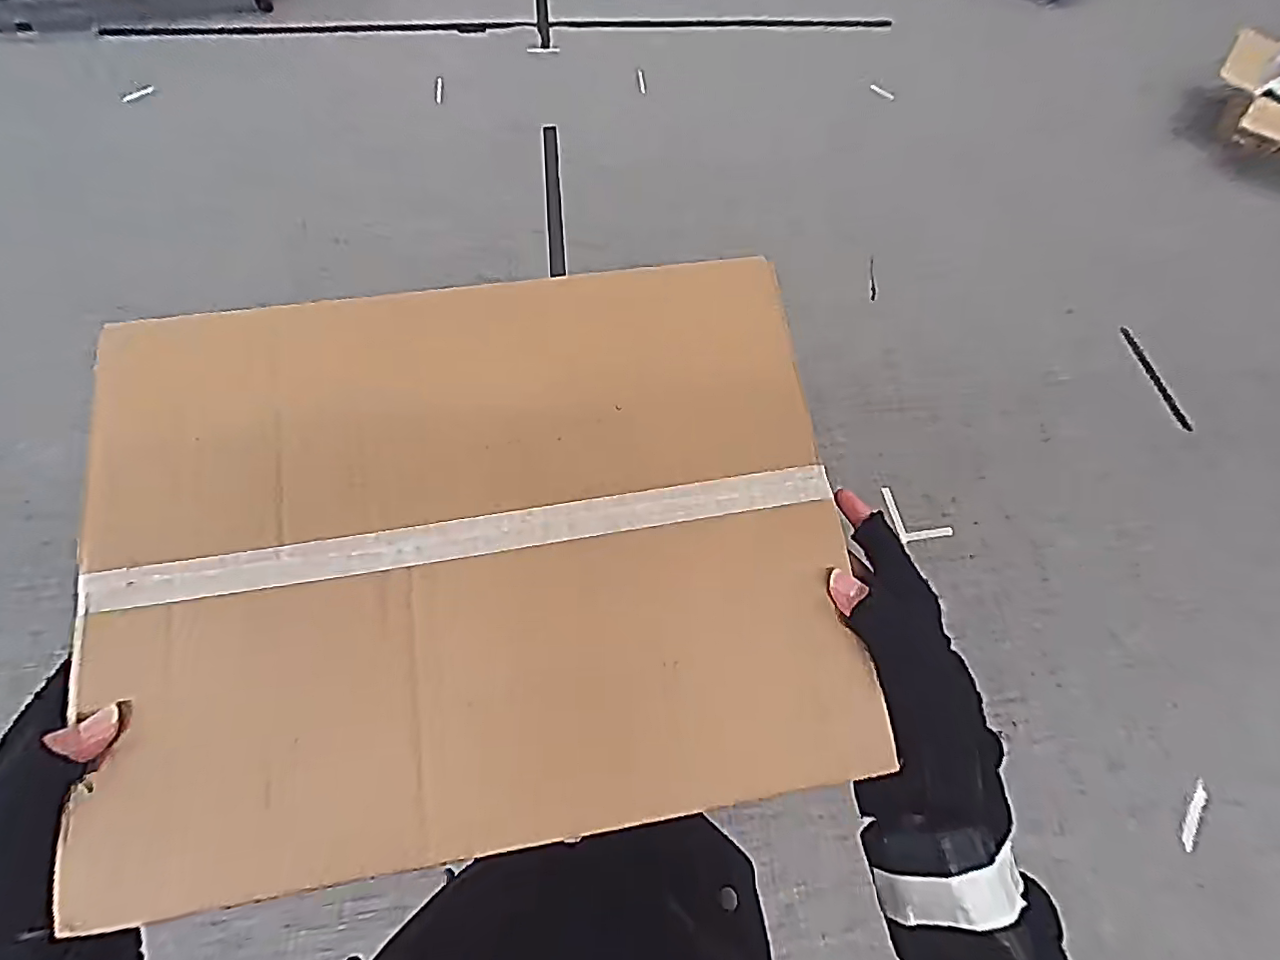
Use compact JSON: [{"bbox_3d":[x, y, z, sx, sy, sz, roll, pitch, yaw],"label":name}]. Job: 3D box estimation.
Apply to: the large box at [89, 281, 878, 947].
[{"bbox_3d":[-0.096,0.078,0.450,0.408,0.320,0.320,-8,76,-5],"label":"large box"}]
